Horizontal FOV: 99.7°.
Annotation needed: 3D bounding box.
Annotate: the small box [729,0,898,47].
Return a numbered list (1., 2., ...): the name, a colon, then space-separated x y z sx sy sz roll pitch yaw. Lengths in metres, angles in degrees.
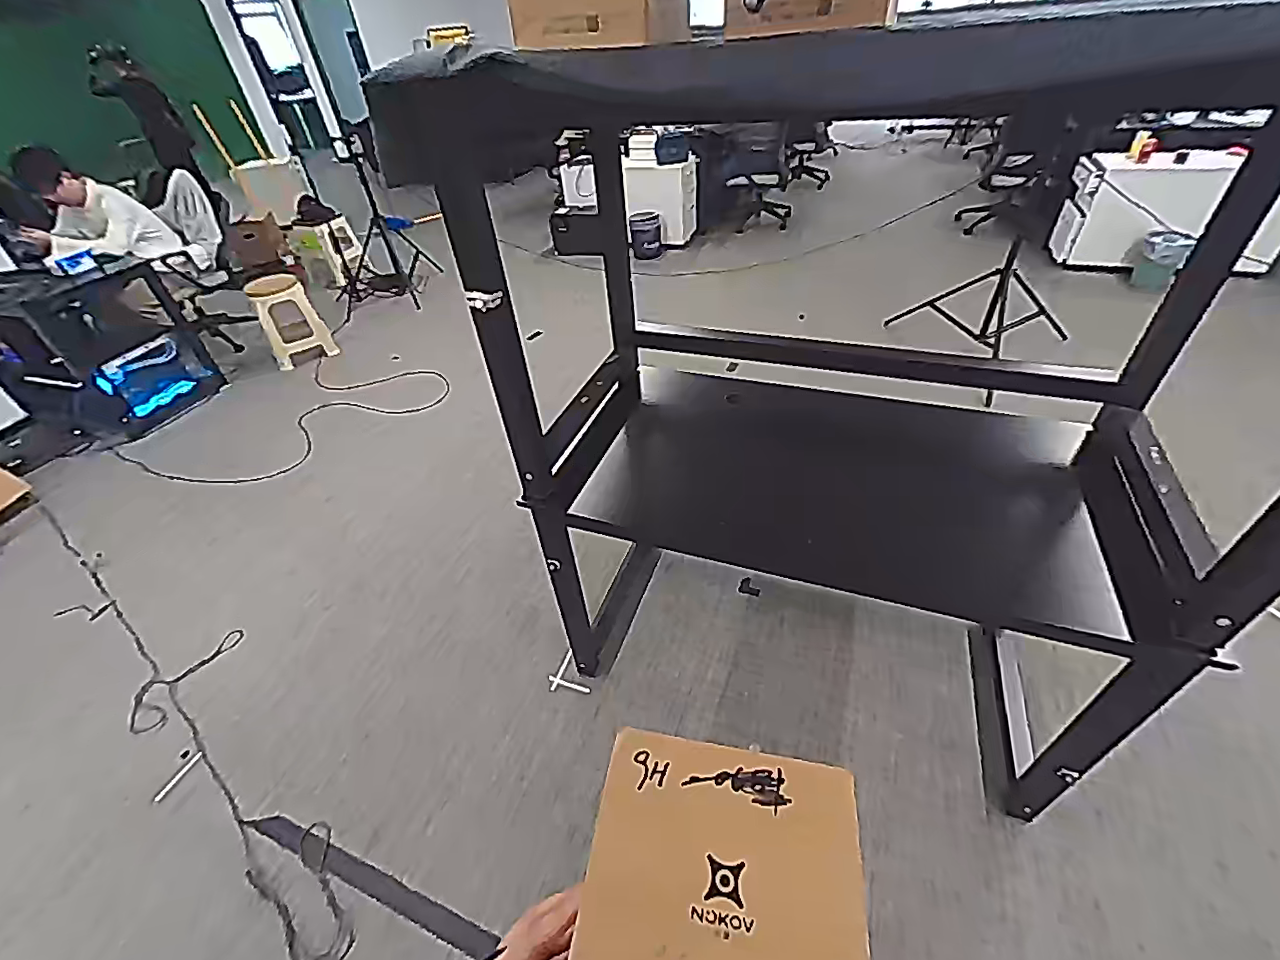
1. small box: 0.192 -0.567 0.563 0.168 0.176 0.179 12 41 19

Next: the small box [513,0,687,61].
1. small box: -0.043 -0.595 0.622 0.168 0.176 0.179 12 41 17

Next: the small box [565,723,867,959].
1. small box: 0.049 0.301 0.373 0.168 0.176 0.179 8 45 8
